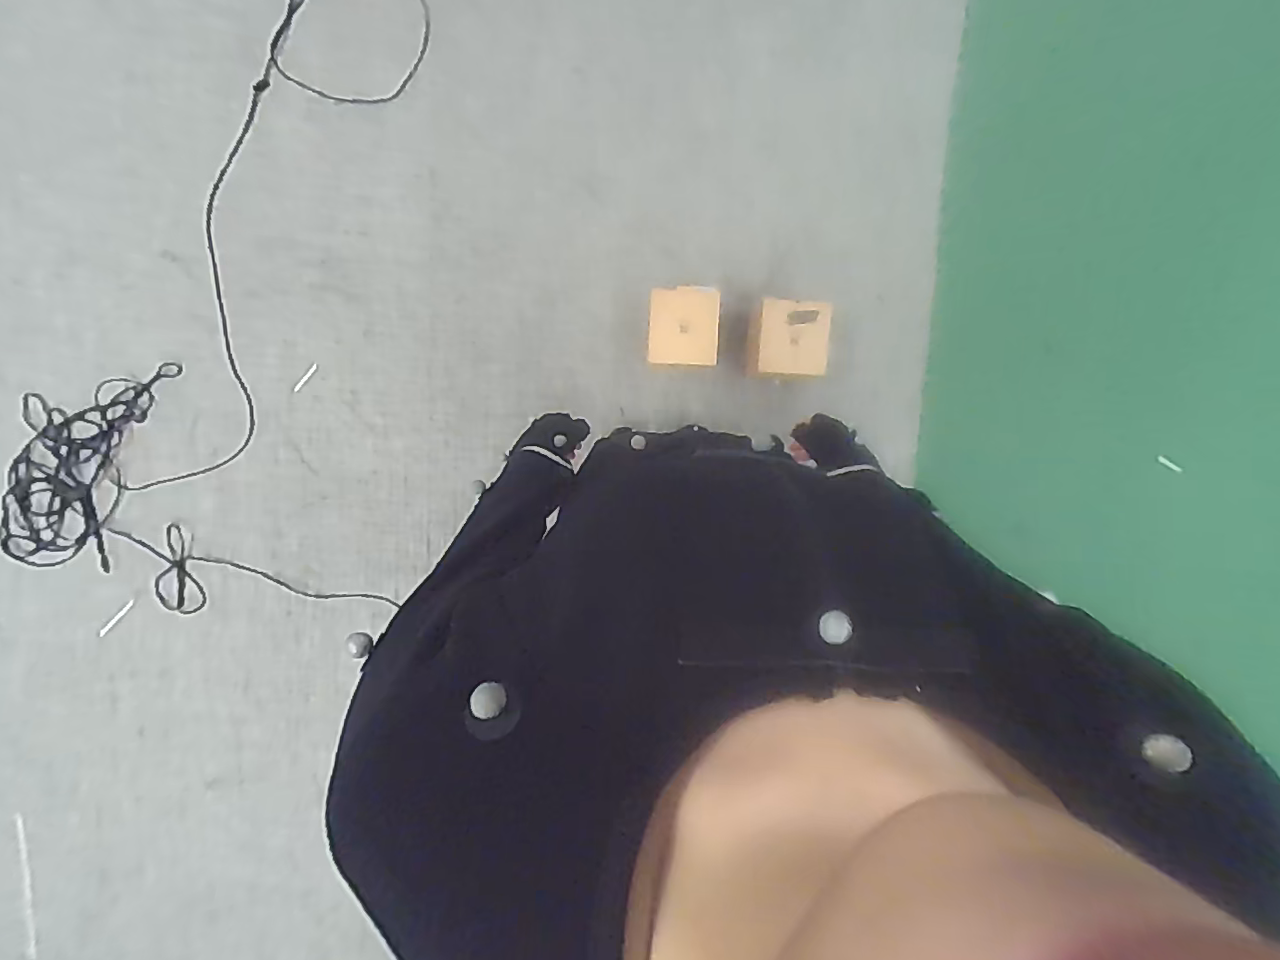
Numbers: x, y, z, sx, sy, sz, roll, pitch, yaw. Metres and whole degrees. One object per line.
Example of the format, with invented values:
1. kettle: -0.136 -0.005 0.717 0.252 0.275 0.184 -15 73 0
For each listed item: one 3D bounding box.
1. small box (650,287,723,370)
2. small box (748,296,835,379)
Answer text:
1. small box: 0.111 -0.372 1.356 0.168 0.176 0.179 2 96 -1
2. small box: 0.373 -0.351 1.357 0.168 0.176 0.179 3 97 -1
